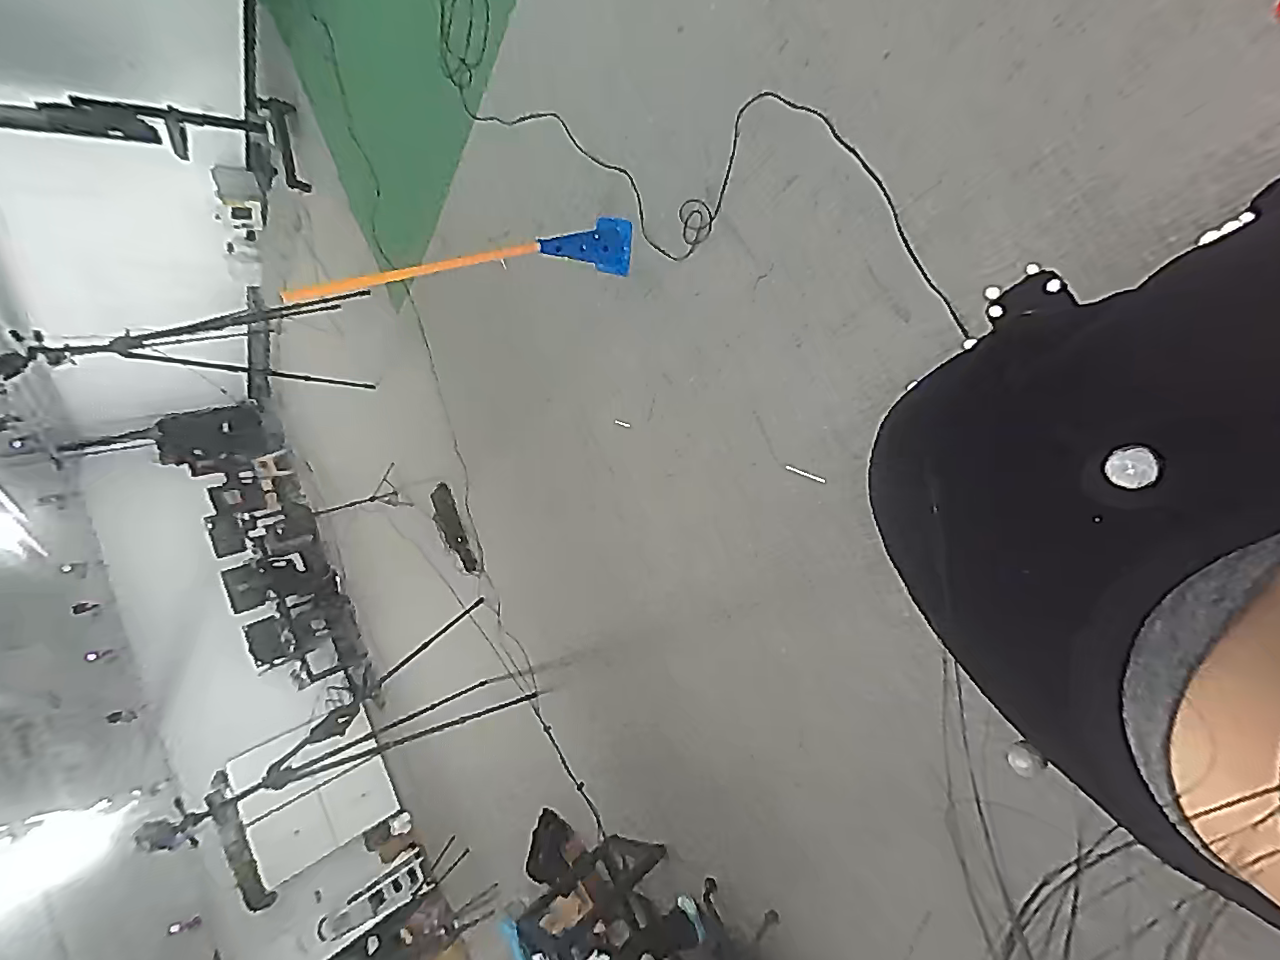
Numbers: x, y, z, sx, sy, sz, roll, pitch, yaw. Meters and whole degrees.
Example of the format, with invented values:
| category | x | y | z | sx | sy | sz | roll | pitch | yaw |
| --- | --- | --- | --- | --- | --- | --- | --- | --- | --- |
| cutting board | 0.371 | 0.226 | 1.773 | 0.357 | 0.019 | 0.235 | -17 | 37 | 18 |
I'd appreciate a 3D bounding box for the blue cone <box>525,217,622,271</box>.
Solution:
| category | x | y | z | sx | sy | sz | roll | pitch | yaw |
| --- | --- | --- | --- | --- | --- | --- | --- | --- | --- |
| blue cone | -0.253 | -0.869 | 1.993 | 0.192 | 0.380 | 0.193 | 27 | 125 | 37 |
